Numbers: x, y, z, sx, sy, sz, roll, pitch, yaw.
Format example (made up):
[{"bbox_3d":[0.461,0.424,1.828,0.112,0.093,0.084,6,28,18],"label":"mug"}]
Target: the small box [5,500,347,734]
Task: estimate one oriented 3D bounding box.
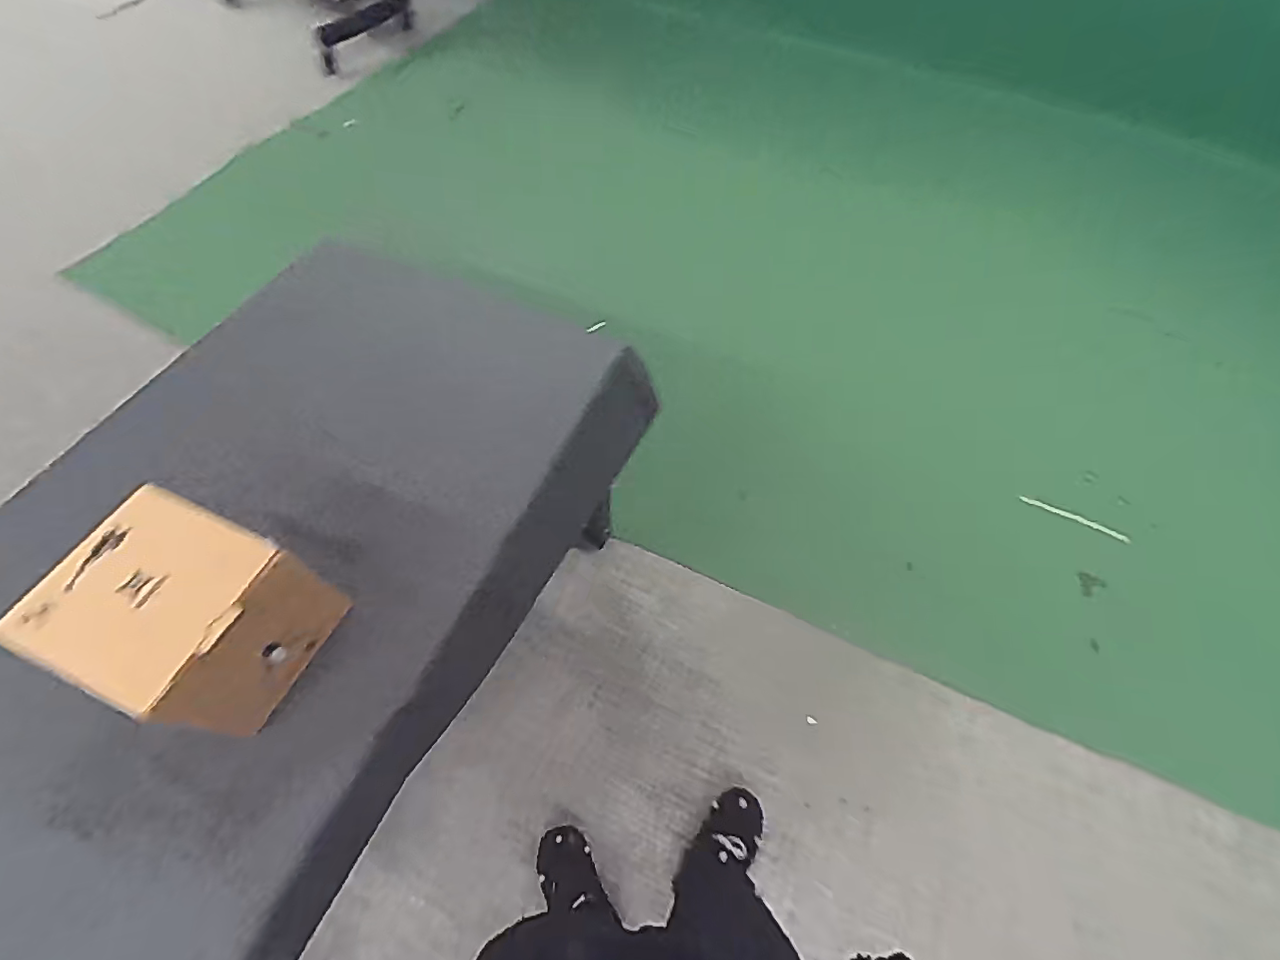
[{"bbox_3d":[-0.457,0.152,0.571,0.179,0.176,0.168,21,62,9],"label":"small box"}]
